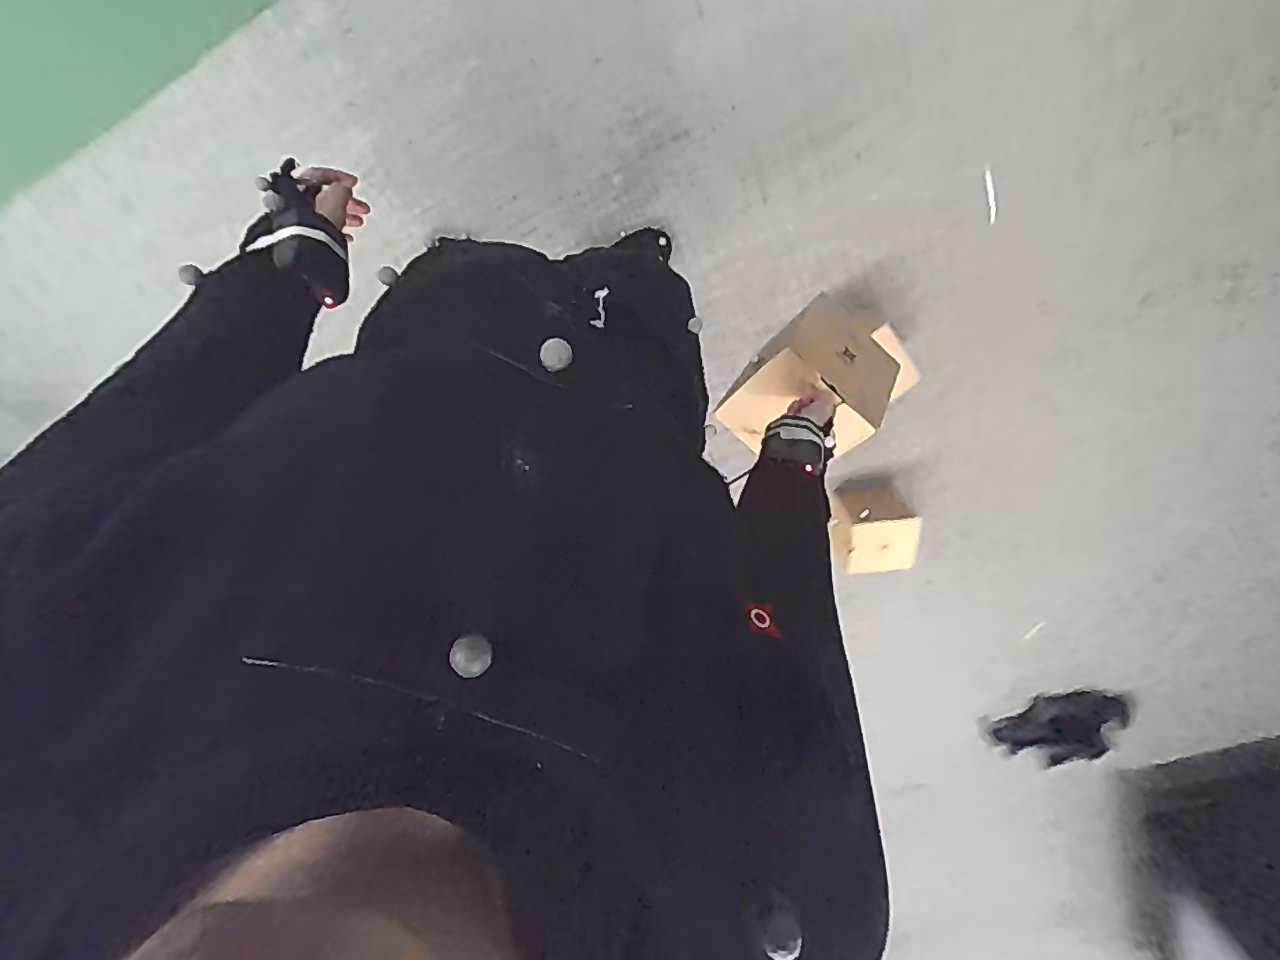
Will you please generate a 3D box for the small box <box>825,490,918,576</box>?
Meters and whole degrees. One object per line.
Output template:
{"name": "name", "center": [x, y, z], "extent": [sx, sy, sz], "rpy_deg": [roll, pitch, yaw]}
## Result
{"name": "small box", "center": [0.629, 0.141, 1.487], "extent": [0.179, 0.176, 0.168], "rpy_deg": [-6, 120, 2]}
